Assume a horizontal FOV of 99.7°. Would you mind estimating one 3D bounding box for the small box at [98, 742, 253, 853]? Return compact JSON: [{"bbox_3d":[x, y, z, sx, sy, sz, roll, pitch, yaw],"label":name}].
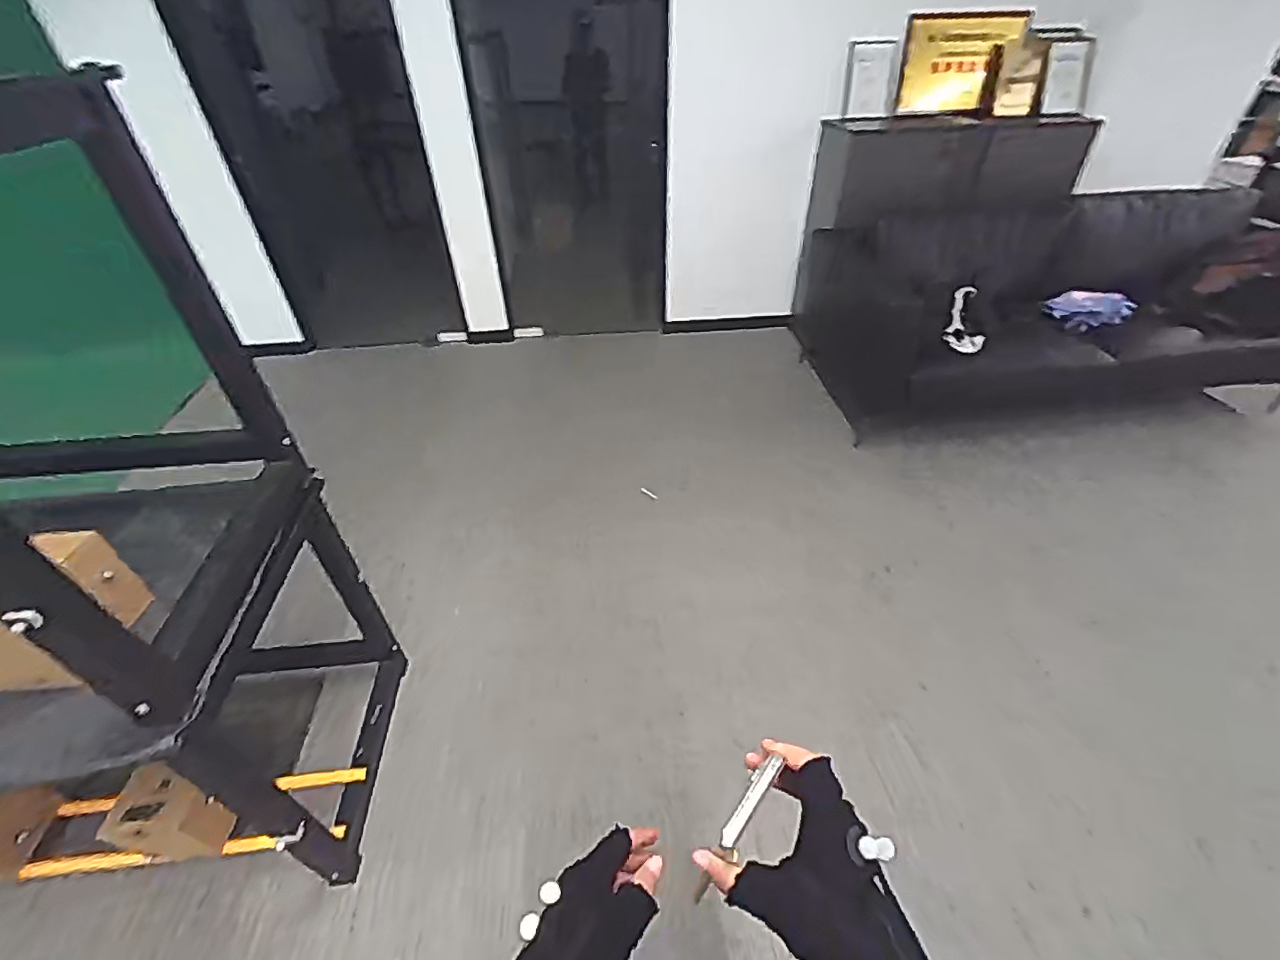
[{"bbox_3d":[-1.011,0.708,1.201,0.168,0.176,0.179,-2,40,-1],"label":"small box"}]
